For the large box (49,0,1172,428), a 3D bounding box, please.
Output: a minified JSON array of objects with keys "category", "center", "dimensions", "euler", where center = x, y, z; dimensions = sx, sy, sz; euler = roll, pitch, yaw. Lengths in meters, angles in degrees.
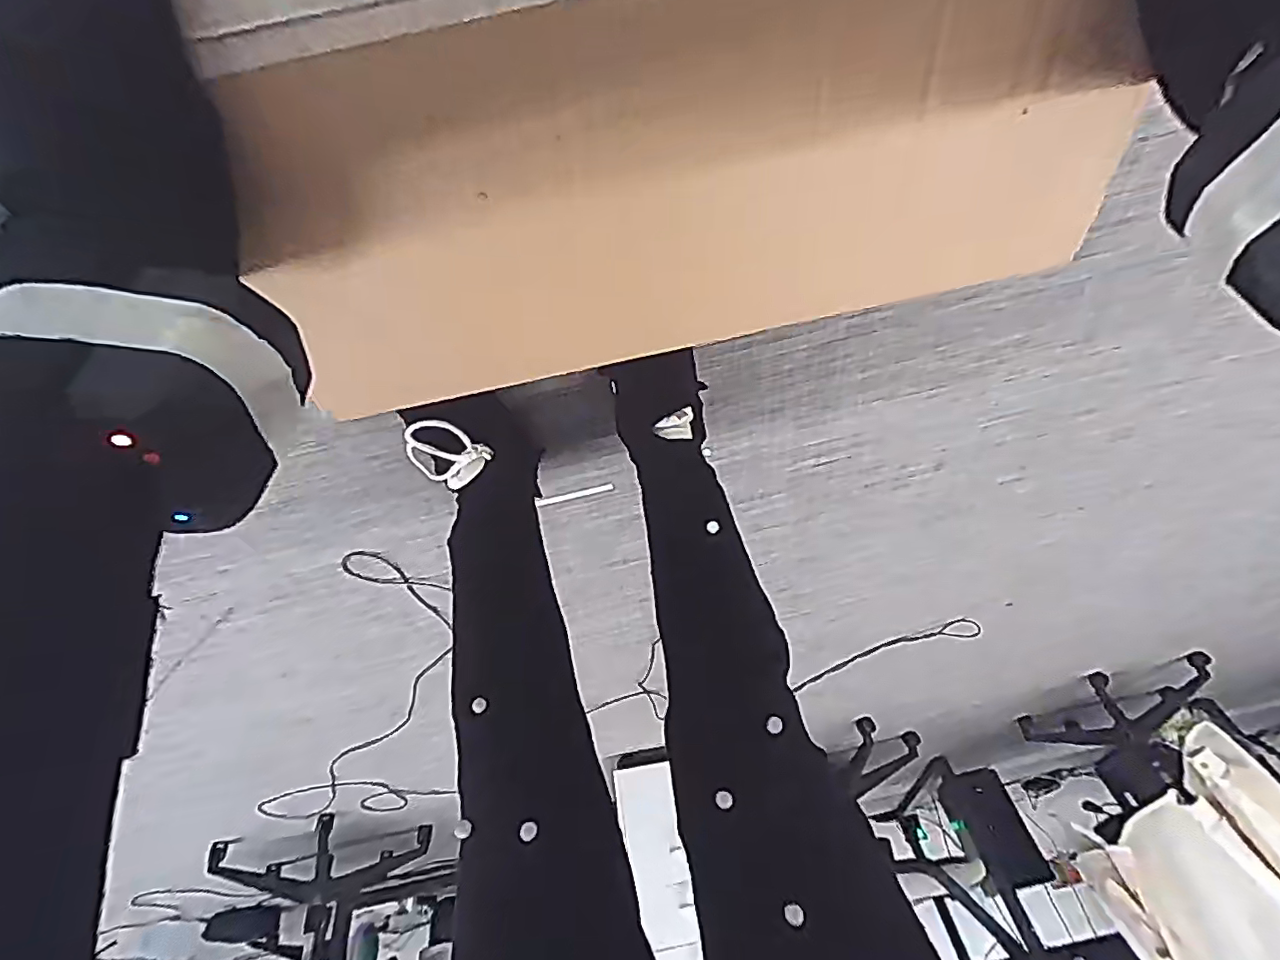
[{"category":"large box","center":[-0.014,-0.279,0.293],"dimensions":[0.408,0.320,0.320],"euler":[-13,137,0]}]
